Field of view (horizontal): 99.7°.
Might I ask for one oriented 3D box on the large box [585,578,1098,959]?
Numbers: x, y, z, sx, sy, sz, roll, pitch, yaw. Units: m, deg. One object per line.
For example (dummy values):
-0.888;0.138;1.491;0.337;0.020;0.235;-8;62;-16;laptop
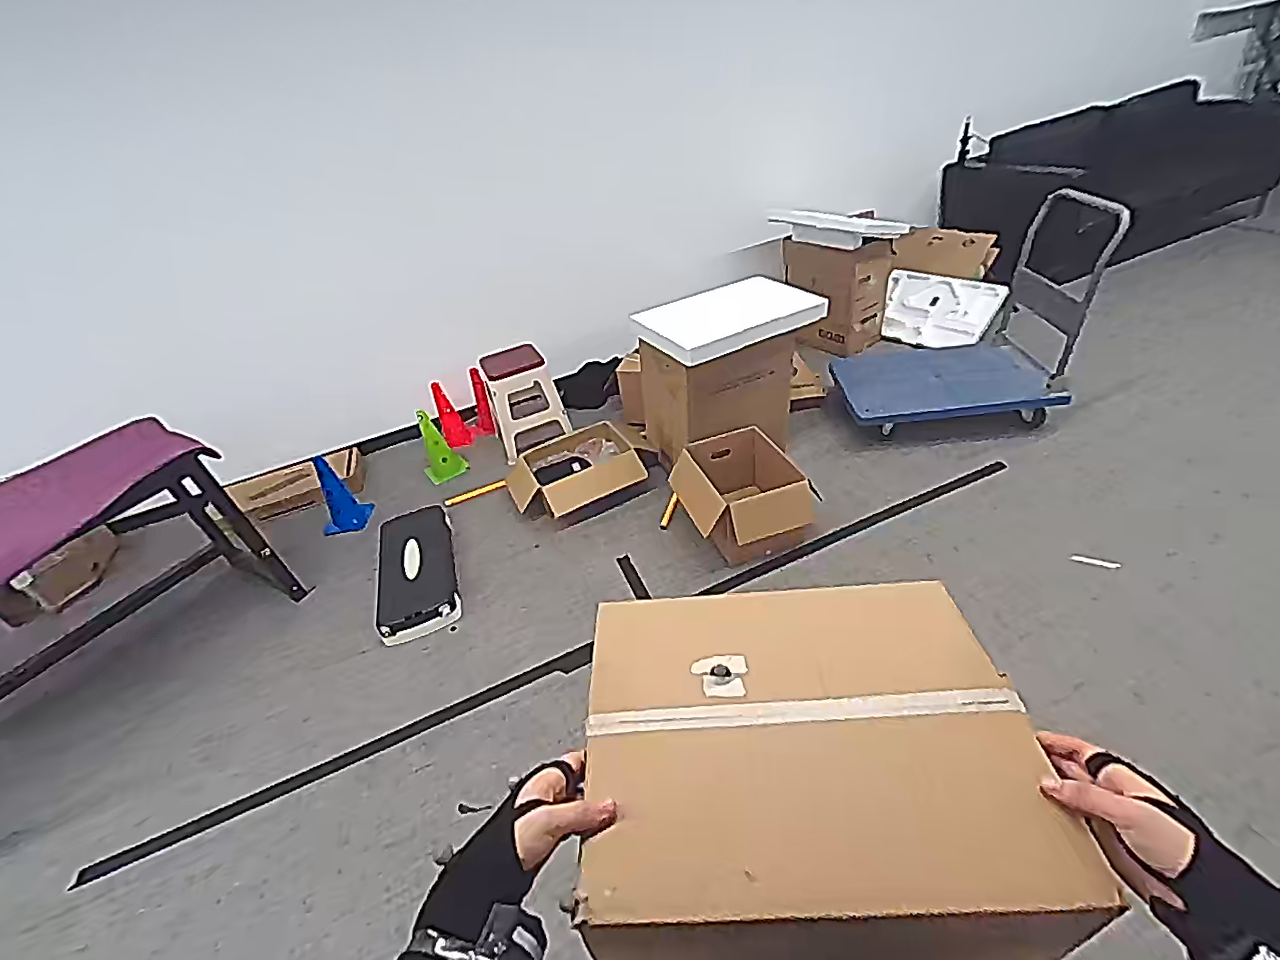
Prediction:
0.170;0.348;0.625;0.408;0.320;0.320;-6;35;4;large box
